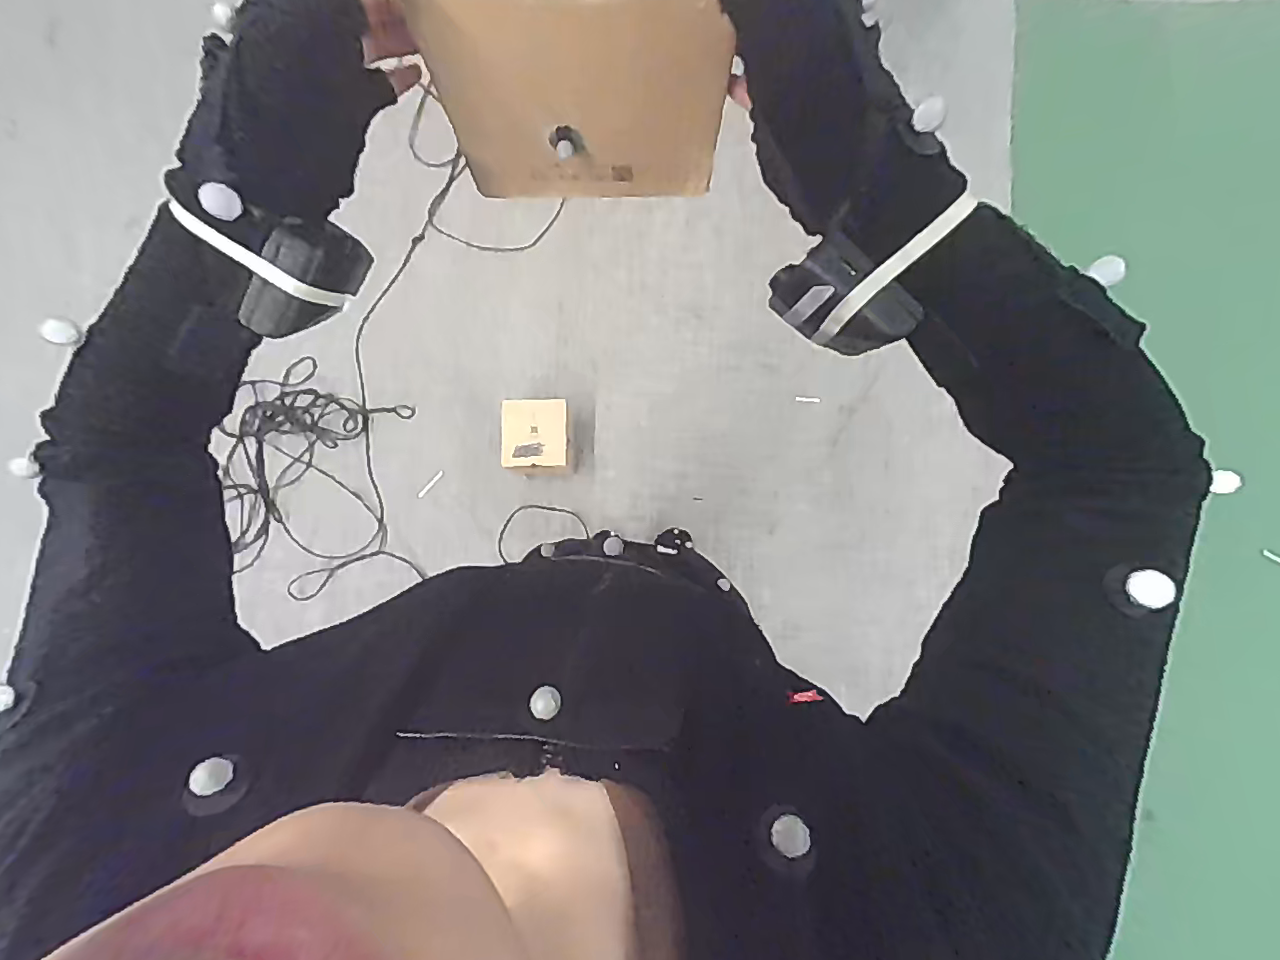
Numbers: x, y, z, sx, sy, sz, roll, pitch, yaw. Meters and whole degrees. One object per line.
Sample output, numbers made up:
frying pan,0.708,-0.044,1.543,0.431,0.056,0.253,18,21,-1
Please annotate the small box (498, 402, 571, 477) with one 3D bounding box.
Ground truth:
small box,-0.276,-0.102,1.440,0.168,0.176,0.179,-1,82,-1
